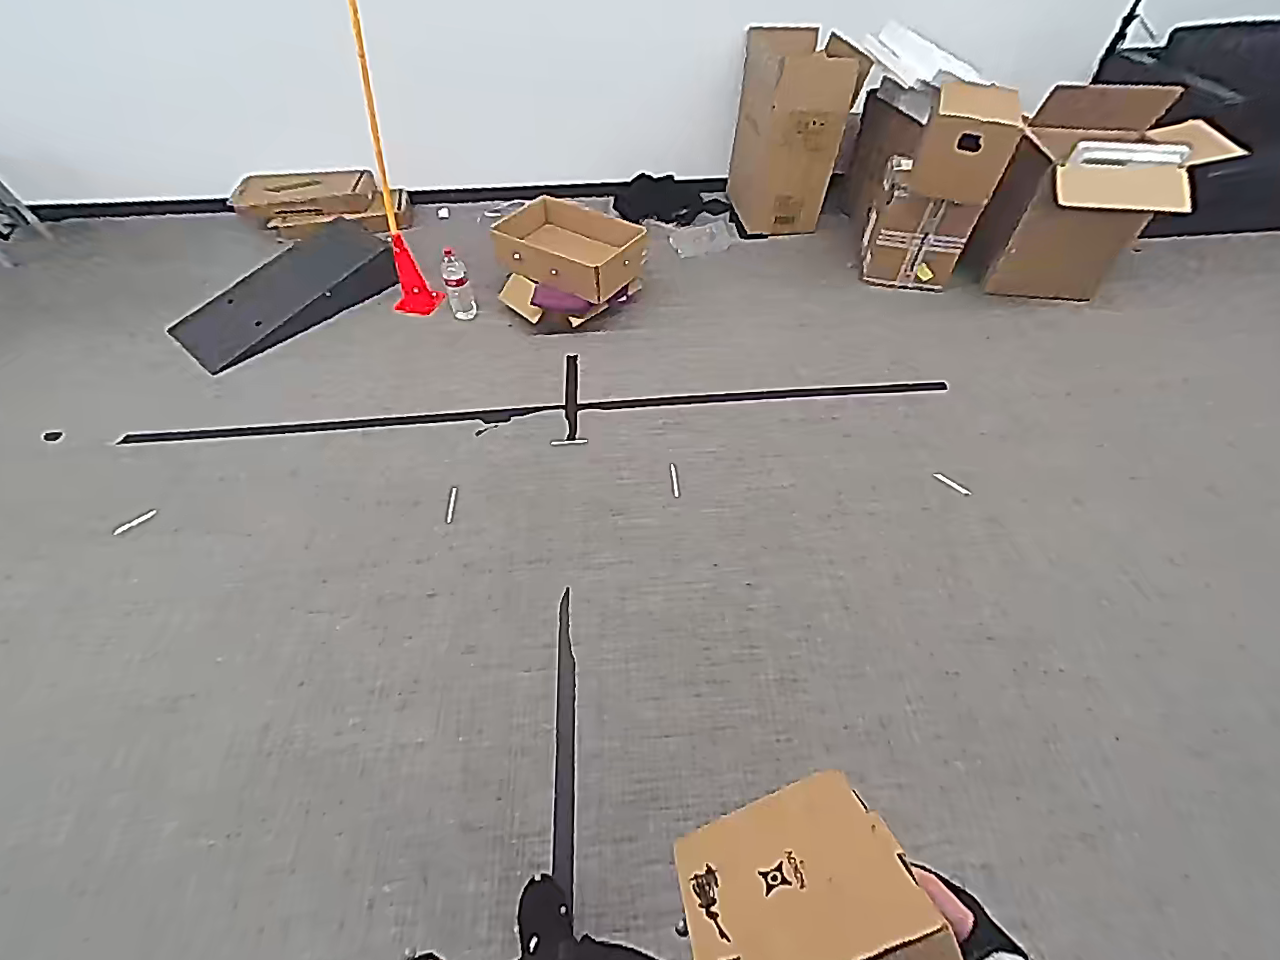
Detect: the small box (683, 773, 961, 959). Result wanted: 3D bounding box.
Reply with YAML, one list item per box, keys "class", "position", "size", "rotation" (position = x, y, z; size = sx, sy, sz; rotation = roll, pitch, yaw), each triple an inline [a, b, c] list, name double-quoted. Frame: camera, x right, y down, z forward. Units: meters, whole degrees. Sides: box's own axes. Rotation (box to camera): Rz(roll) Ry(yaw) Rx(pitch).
- class: "small box"
  position: [0.156, 0.401, 0.456]
  size: [0.179, 0.168, 0.176]
  rotation: [-23, 97, -2]
